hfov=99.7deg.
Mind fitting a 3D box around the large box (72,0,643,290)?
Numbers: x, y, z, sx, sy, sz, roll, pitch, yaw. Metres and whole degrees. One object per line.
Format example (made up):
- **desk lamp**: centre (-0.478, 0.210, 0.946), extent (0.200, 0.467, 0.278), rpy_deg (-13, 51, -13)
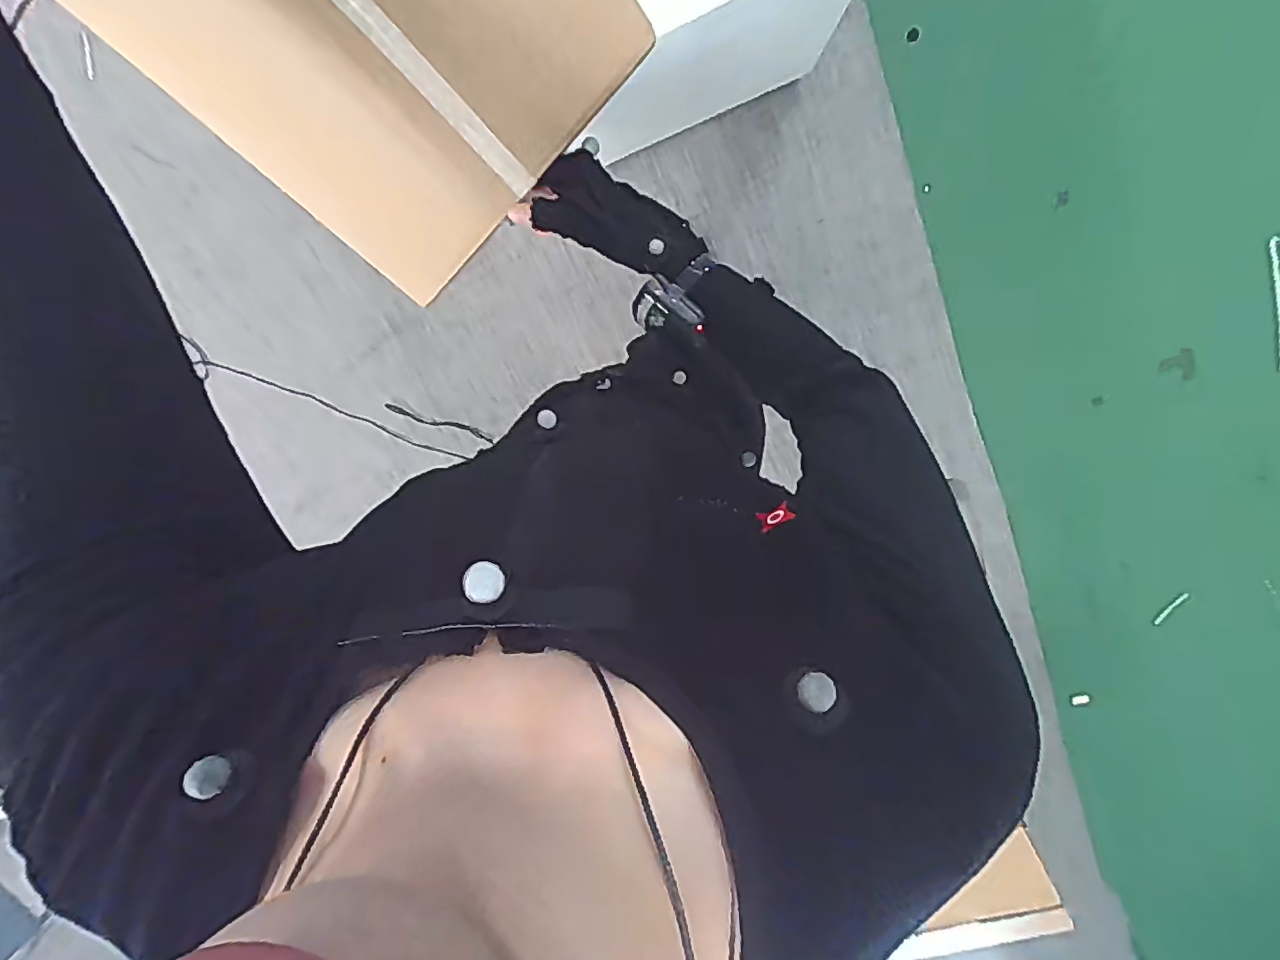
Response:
- **large box**: centre (-0.241, -0.468, 0.508), extent (0.320, 0.320, 0.408), rpy_deg (-37, 119, 22)
